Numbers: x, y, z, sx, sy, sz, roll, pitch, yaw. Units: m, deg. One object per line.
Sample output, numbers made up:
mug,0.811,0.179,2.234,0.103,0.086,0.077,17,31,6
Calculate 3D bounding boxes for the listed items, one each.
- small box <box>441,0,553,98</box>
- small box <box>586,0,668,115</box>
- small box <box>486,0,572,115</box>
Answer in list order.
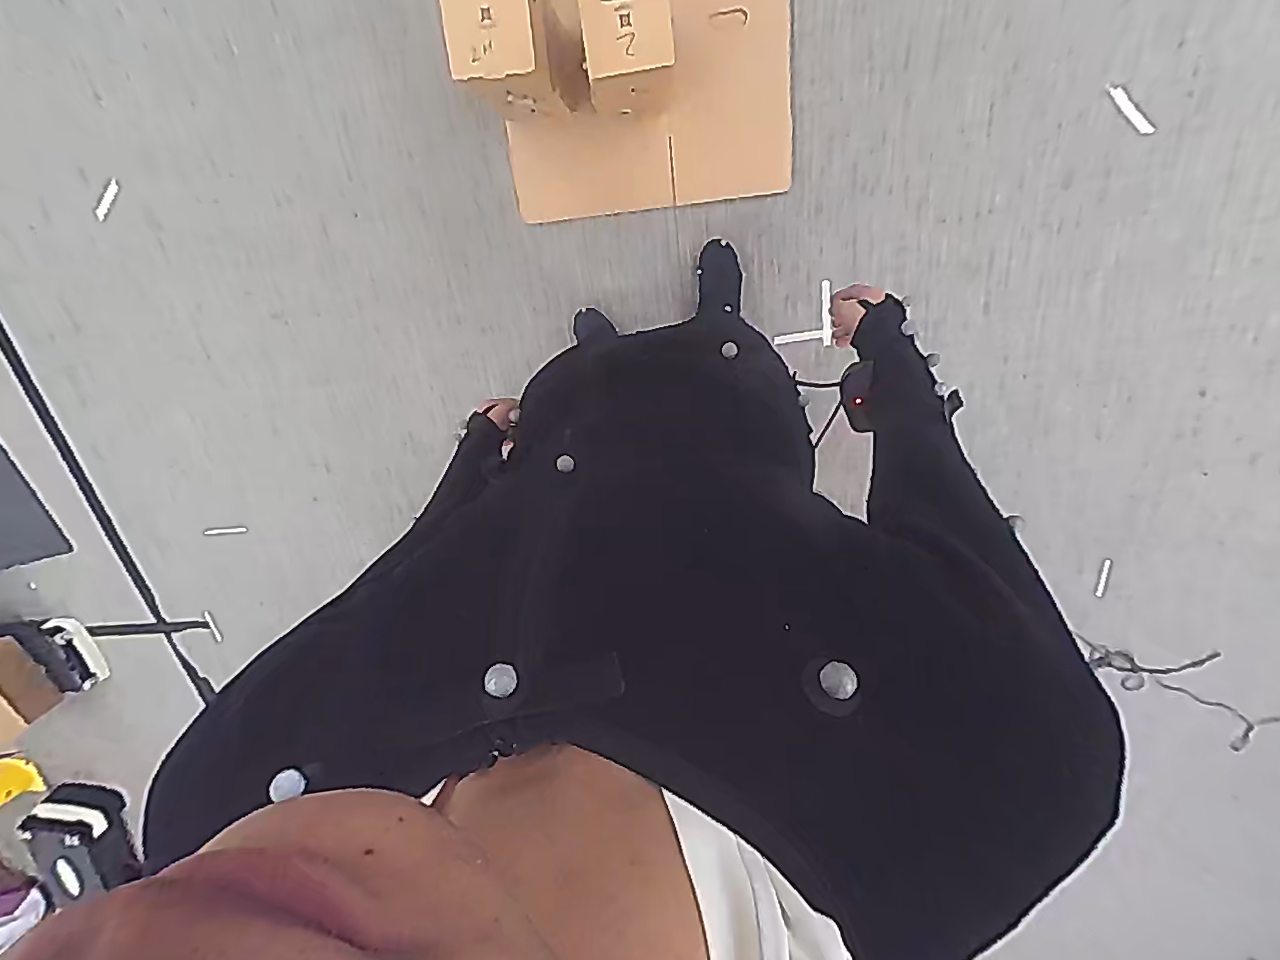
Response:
small box,-0.273,-0.874,1.053,0.168,0.176,0.179,-1,113,5
small box,-0.023,-0.933,1.193,0.168,0.176,0.179,-1,113,4
small box,-0.253,-0.933,1.206,0.168,0.176,0.179,-2,114,5
